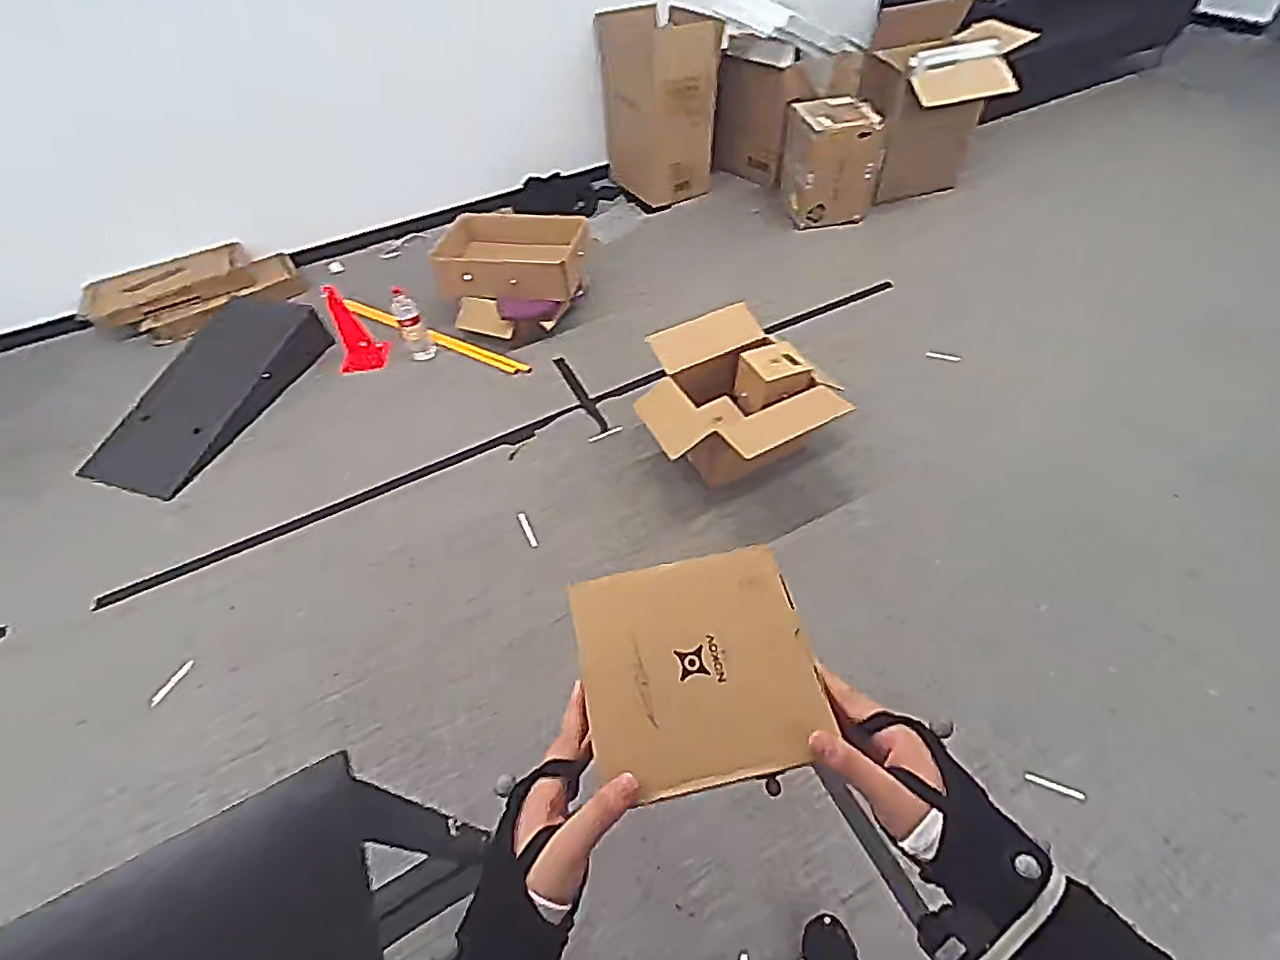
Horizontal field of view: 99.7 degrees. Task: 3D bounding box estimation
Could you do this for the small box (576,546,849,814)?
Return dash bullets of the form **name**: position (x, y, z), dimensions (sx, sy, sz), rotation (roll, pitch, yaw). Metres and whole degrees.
- **small box**: position (0.049, 0.181, 0.478), dimensions (0.179, 0.176, 0.168), rotation (-12, 58, -5)
